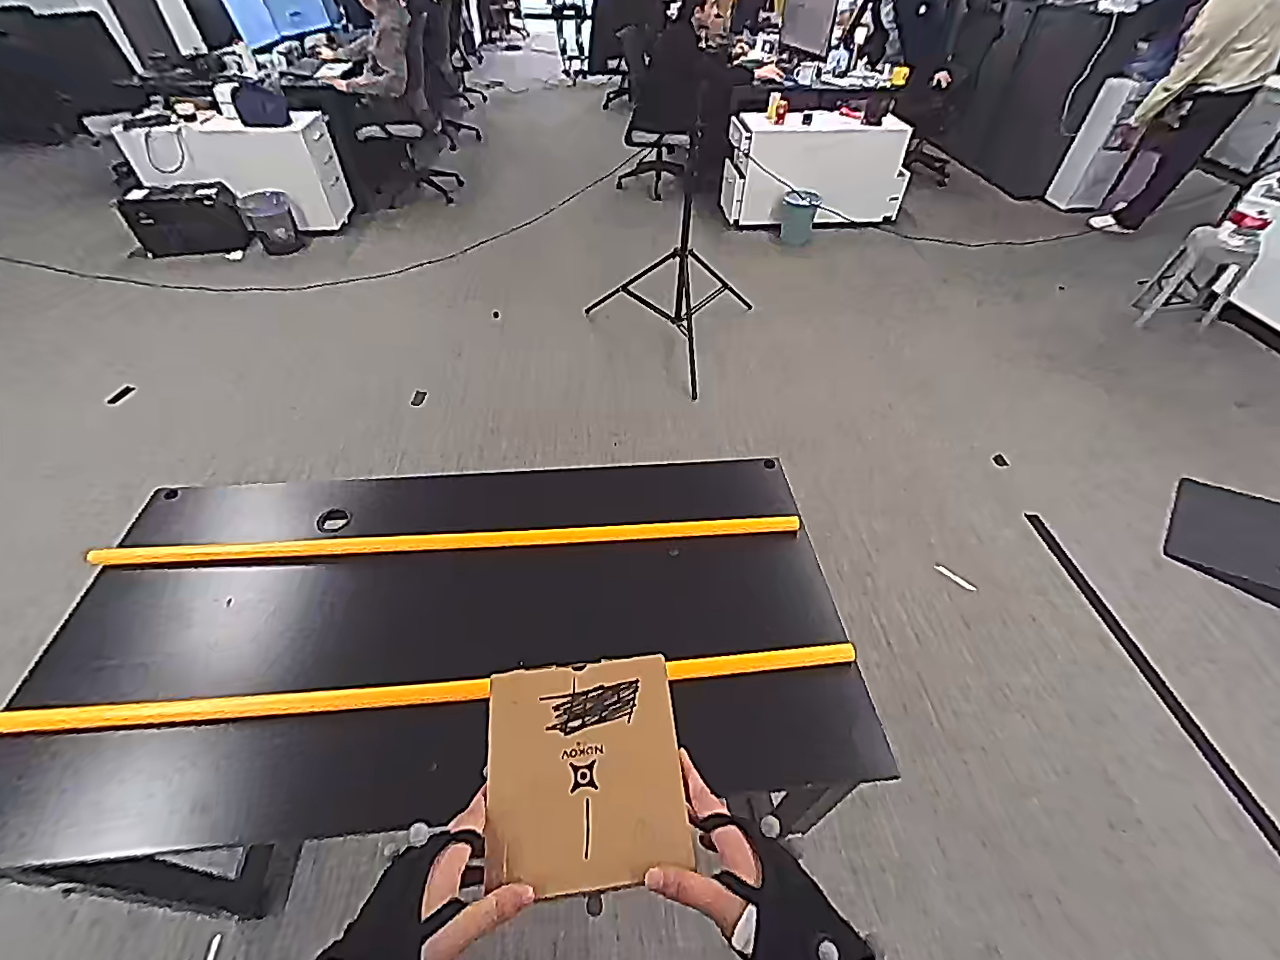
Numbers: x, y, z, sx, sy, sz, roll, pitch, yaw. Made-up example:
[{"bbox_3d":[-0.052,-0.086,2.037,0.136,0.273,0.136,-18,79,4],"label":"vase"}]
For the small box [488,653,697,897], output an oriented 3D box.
[{"bbox_3d":[-0.045,0.292,0.532,0.168,0.176,0.179,-6,53,-4],"label":"small box"}]
